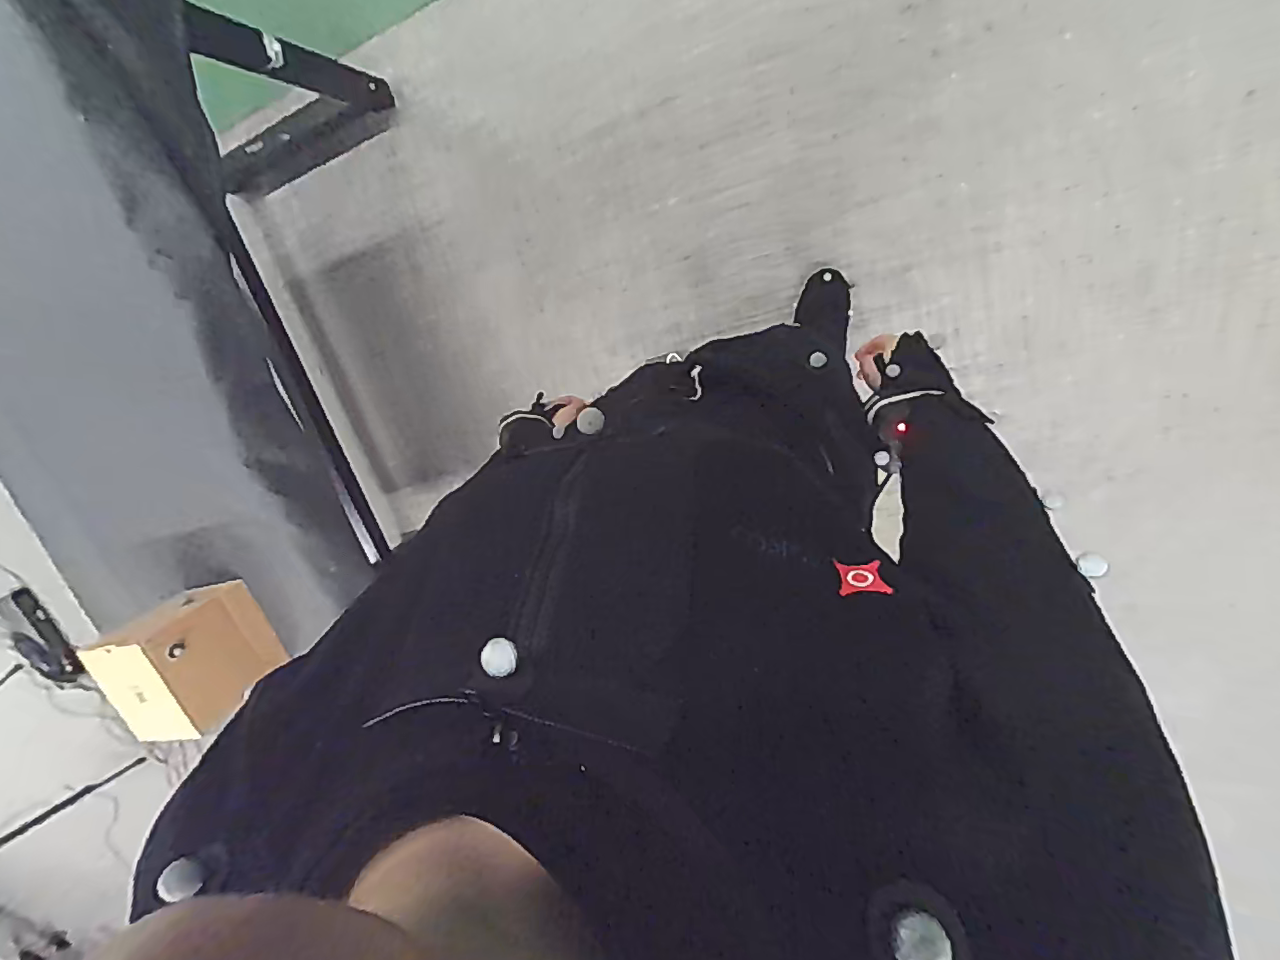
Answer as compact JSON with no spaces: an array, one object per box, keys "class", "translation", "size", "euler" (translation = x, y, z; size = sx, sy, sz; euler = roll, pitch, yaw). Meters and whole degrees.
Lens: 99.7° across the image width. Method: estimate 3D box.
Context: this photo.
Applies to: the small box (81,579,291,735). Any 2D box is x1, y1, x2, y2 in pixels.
[{"class":"small box","translation":[-0.722,0.286,0.881],"size":[0.168,0.176,0.179],"euler":[-12,108,22]}]
